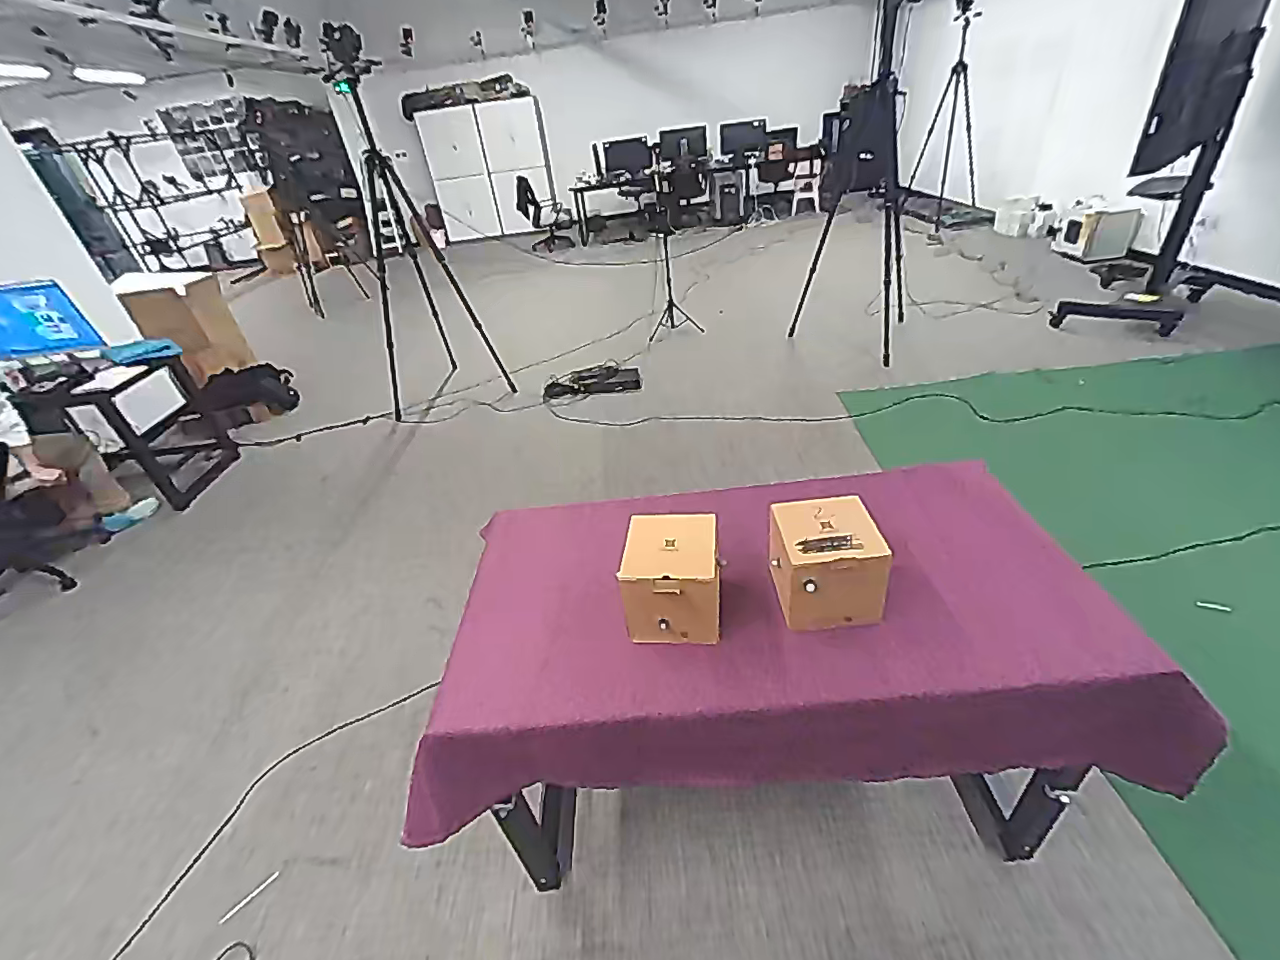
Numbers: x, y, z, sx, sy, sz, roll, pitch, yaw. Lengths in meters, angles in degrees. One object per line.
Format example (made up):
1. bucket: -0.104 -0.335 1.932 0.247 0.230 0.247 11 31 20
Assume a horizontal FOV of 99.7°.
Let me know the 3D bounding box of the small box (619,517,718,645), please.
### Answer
1. small box: 0.063 0.189 1.036 0.168 0.176 0.179 -2 36 10
